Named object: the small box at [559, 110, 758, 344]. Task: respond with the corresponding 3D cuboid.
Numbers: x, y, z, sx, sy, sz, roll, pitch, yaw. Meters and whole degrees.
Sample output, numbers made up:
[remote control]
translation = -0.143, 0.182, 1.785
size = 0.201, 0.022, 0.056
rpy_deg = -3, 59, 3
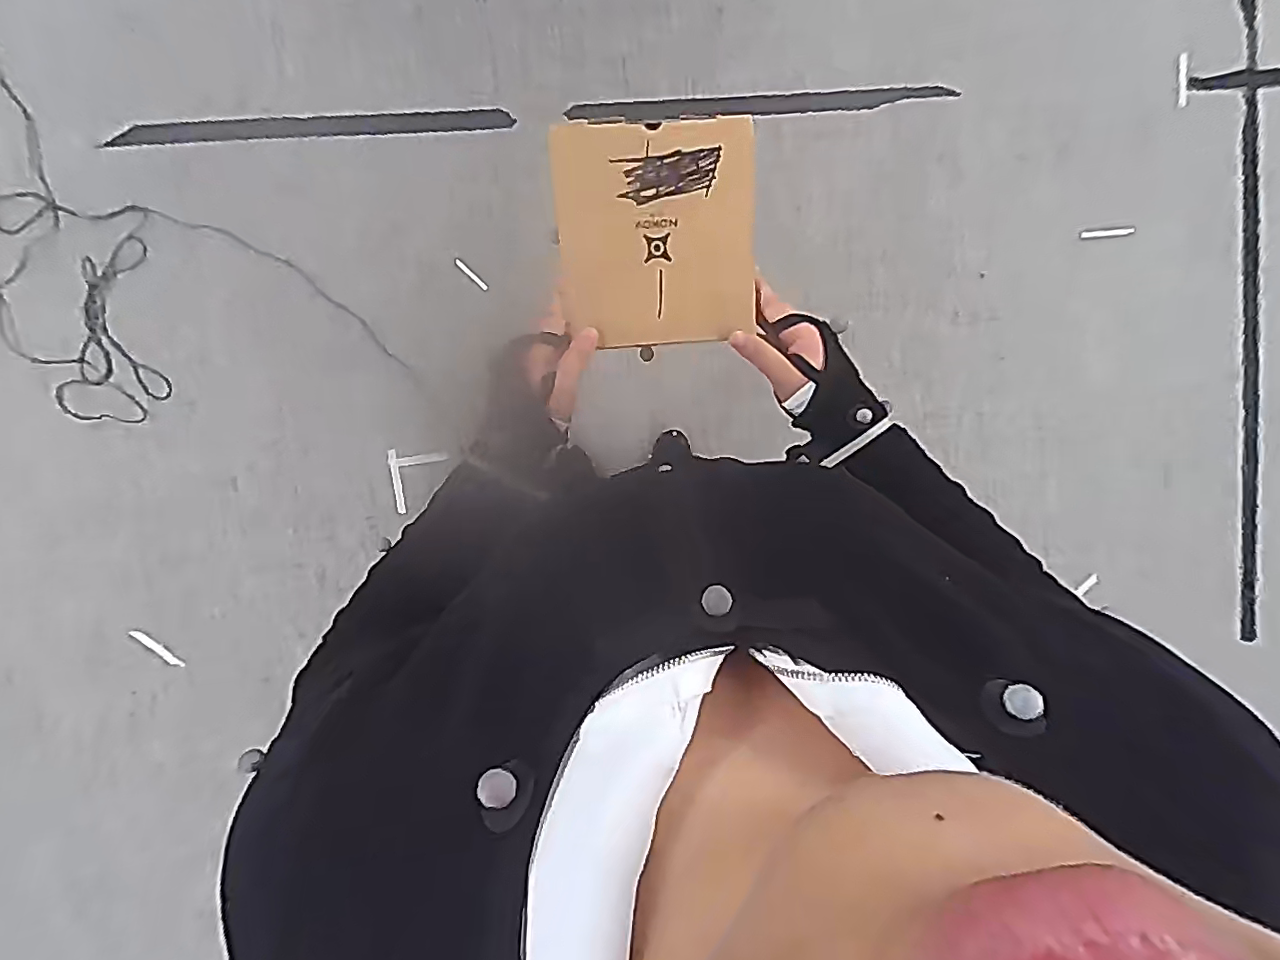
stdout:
[small box]
translation = 0.012, -0.230, 0.532
size = 0.168, 0.176, 0.179
rpy_deg = -4, 104, -3
